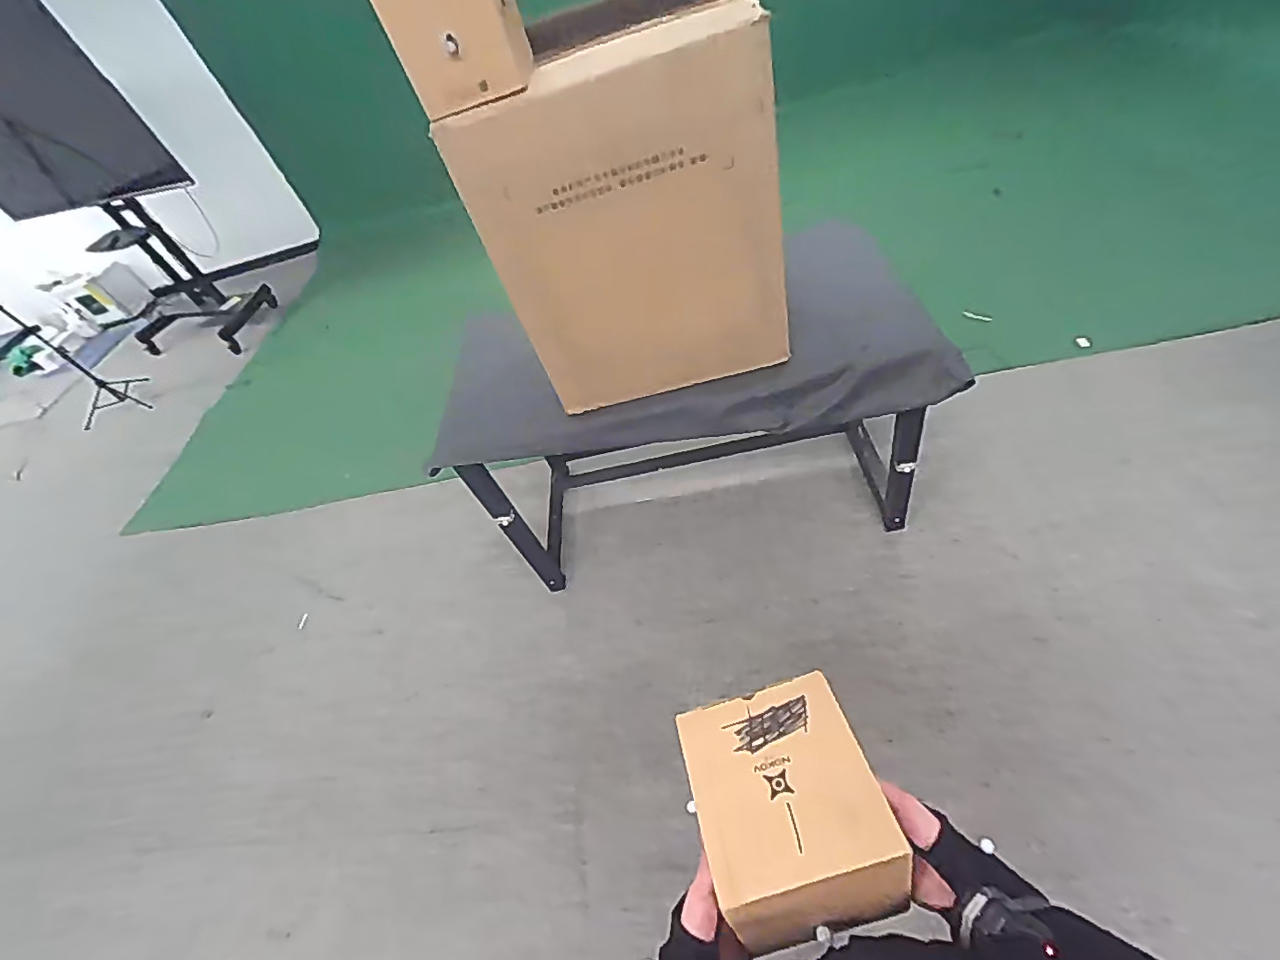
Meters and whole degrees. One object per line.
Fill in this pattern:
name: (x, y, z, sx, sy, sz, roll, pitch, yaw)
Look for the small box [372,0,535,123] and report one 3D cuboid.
small box: (-0.274, -0.687, 0.841, 0.168, 0.176, 0.179, -12, 49, 9)
